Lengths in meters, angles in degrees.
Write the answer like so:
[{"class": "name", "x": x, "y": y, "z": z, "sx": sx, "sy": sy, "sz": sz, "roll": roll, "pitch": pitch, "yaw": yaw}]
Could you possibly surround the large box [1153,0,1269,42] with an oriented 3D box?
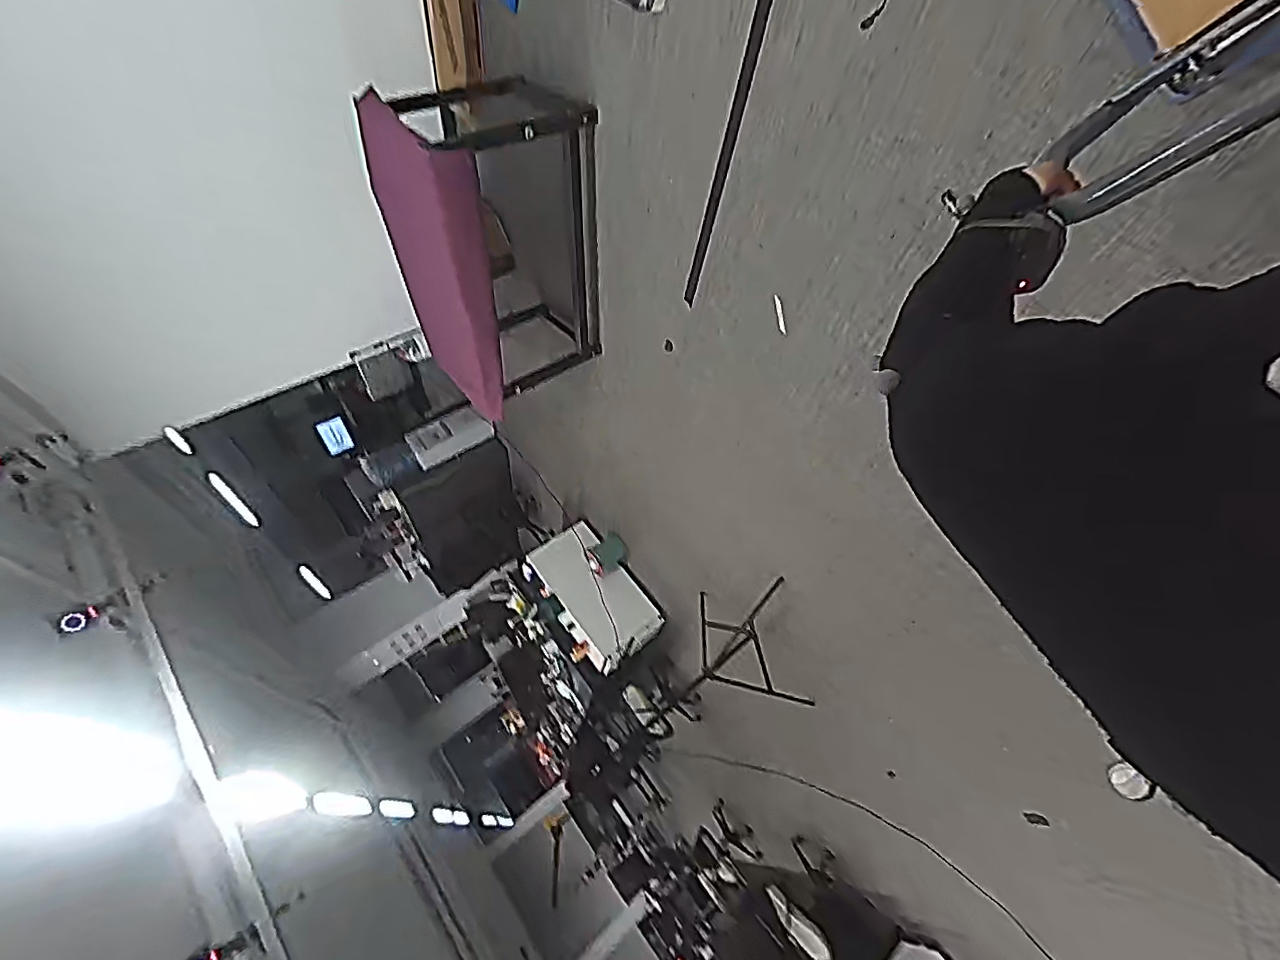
[{"class": "large box", "x": 0.741, "y": -0.756, "z": 0.523, "sx": 0.320, "sy": 0.320, "sz": 0.408, "roll": 56, "pitch": 154, "yaw": -2}]
